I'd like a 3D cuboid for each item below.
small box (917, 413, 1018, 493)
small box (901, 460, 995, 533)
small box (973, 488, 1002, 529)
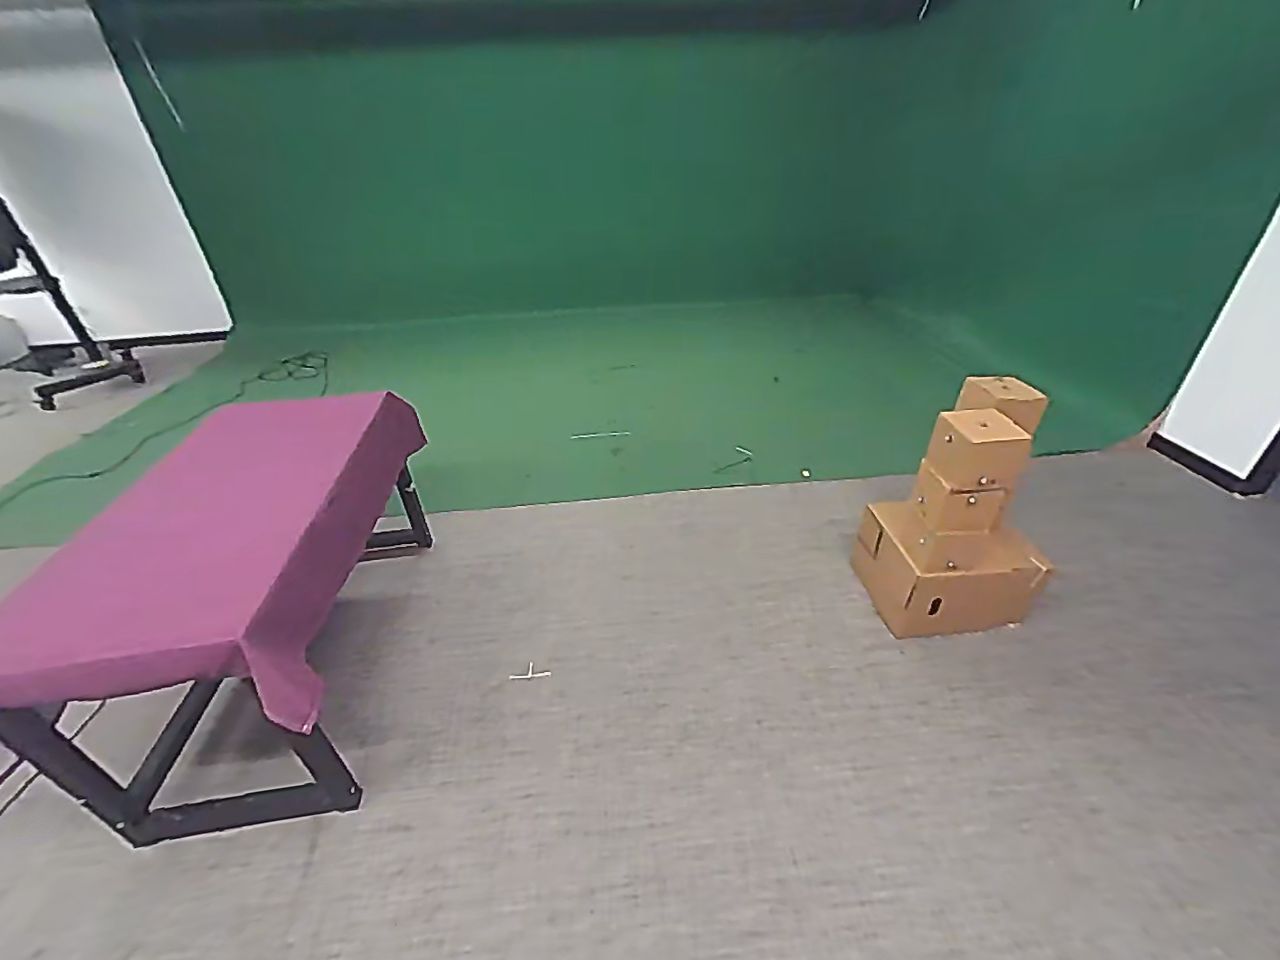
[{"bbox_3d":[0.941,-0.079,1.574,0.168,0.176,0.179,-4,35,-3],"label":"small box"},{"bbox_3d":[0.942,0.052,1.671,0.179,0.176,0.168,-2,34,0],"label":"small box"},{"bbox_3d":[1.144,0.068,1.947,0.179,0.176,0.168,-1,32,-5],"label":"small box"}]
